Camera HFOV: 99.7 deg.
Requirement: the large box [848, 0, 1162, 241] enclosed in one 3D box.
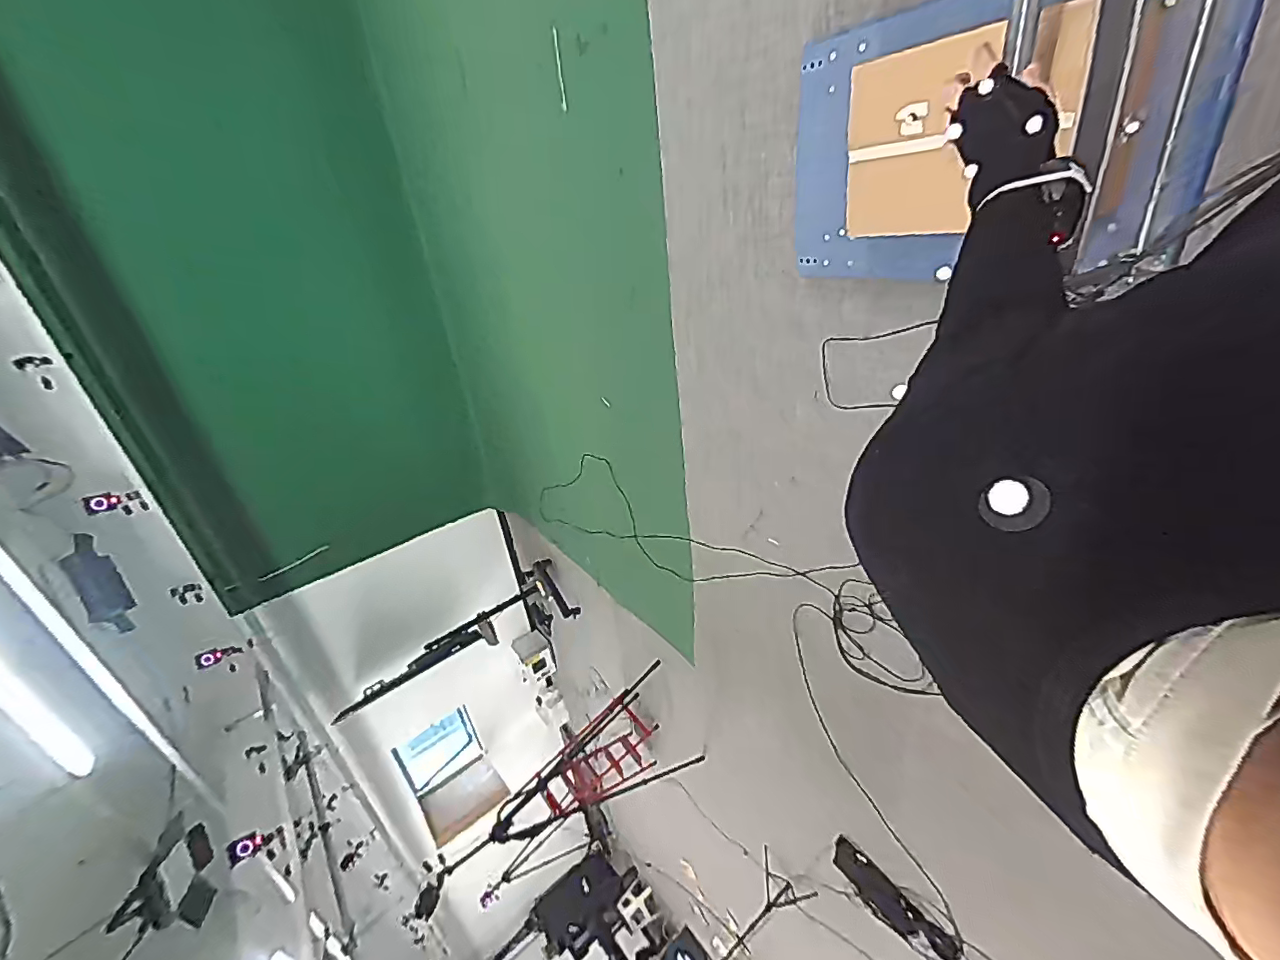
[{"bbox_3d":[0.678,-0.667,1.058,0.408,0.320,0.320,27,133,48],"label":"large box"}]
